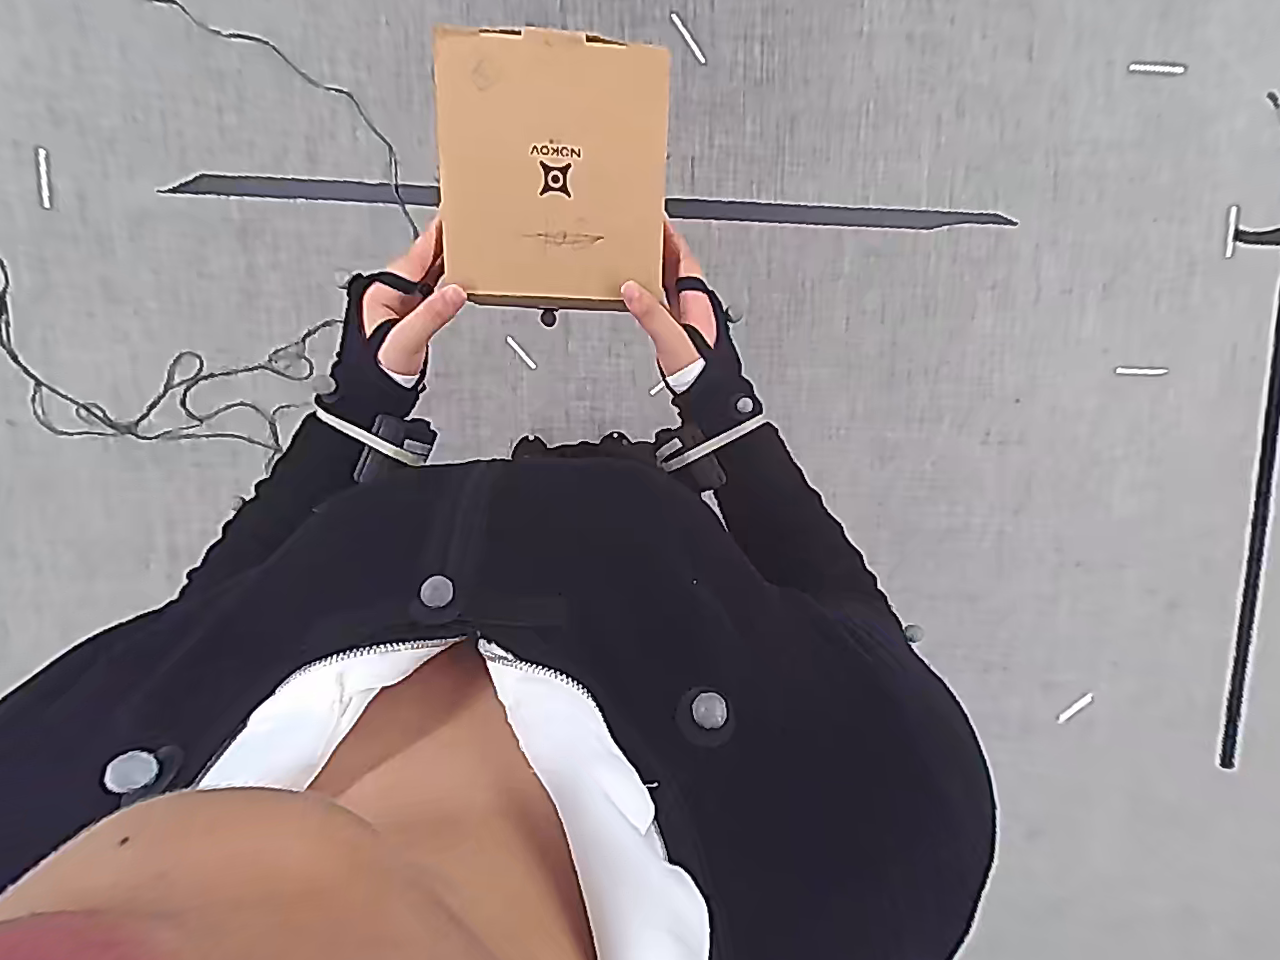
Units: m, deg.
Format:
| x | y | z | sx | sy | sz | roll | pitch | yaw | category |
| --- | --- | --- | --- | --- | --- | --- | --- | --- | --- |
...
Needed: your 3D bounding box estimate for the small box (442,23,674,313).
| x | y | z | sx | sy | sz | roll | pitch | yaw | category |
| --- | --- | --- | --- | --- | --- | --- | --- | --- | --- |
| -0.069 | -0.246 | 0.475 | 0.168 | 0.176 | 0.179 | 0 | 104 | -6 | small box |
